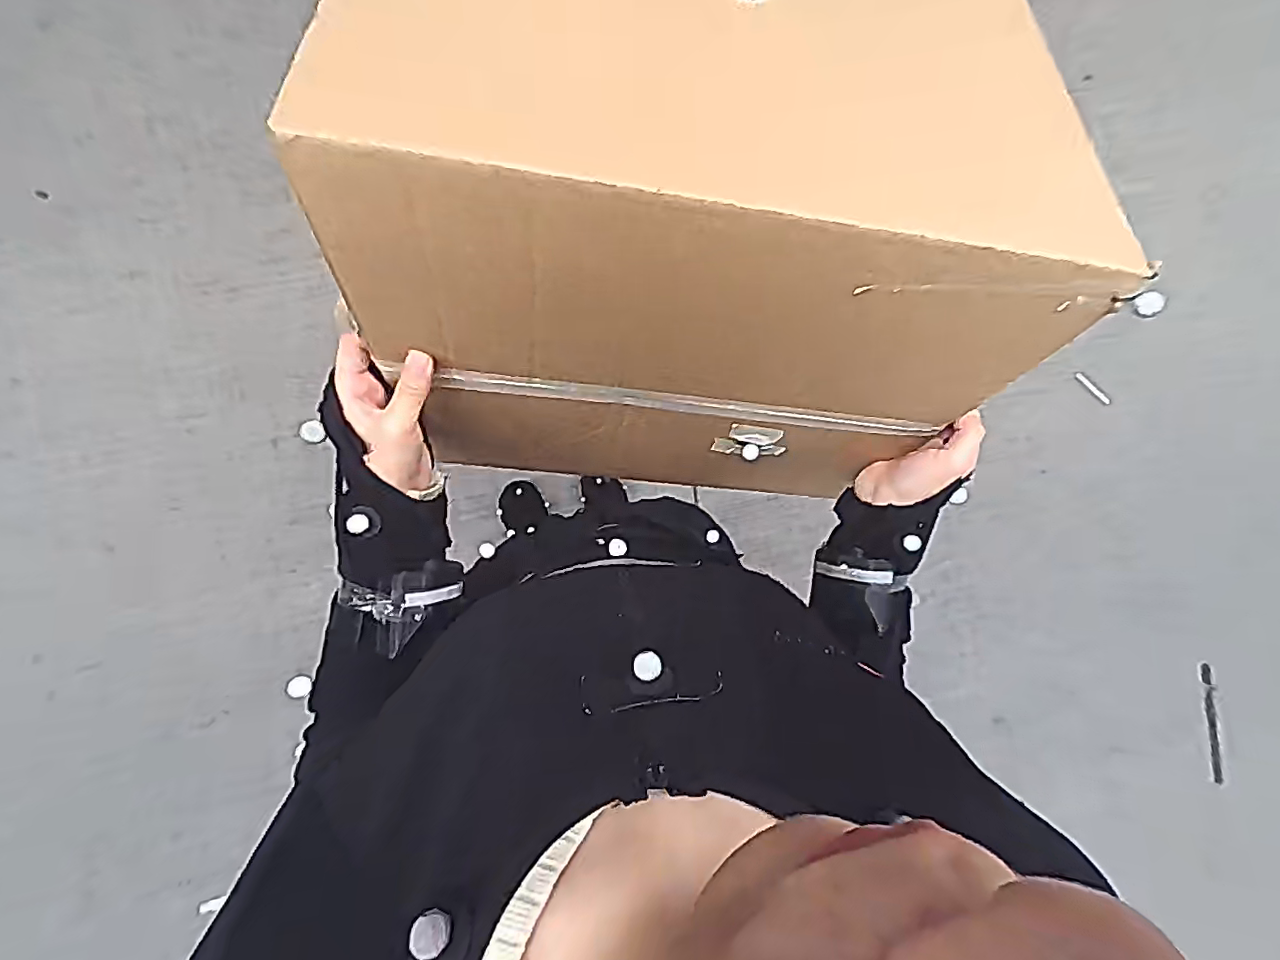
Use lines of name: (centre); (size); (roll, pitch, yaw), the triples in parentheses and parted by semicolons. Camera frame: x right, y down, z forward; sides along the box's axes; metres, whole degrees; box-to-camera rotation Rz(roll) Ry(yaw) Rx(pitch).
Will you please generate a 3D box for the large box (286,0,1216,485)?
large box: (0.043, -0.206, 0.413); (0.408, 0.320, 0.320); (4, 67, -8)
